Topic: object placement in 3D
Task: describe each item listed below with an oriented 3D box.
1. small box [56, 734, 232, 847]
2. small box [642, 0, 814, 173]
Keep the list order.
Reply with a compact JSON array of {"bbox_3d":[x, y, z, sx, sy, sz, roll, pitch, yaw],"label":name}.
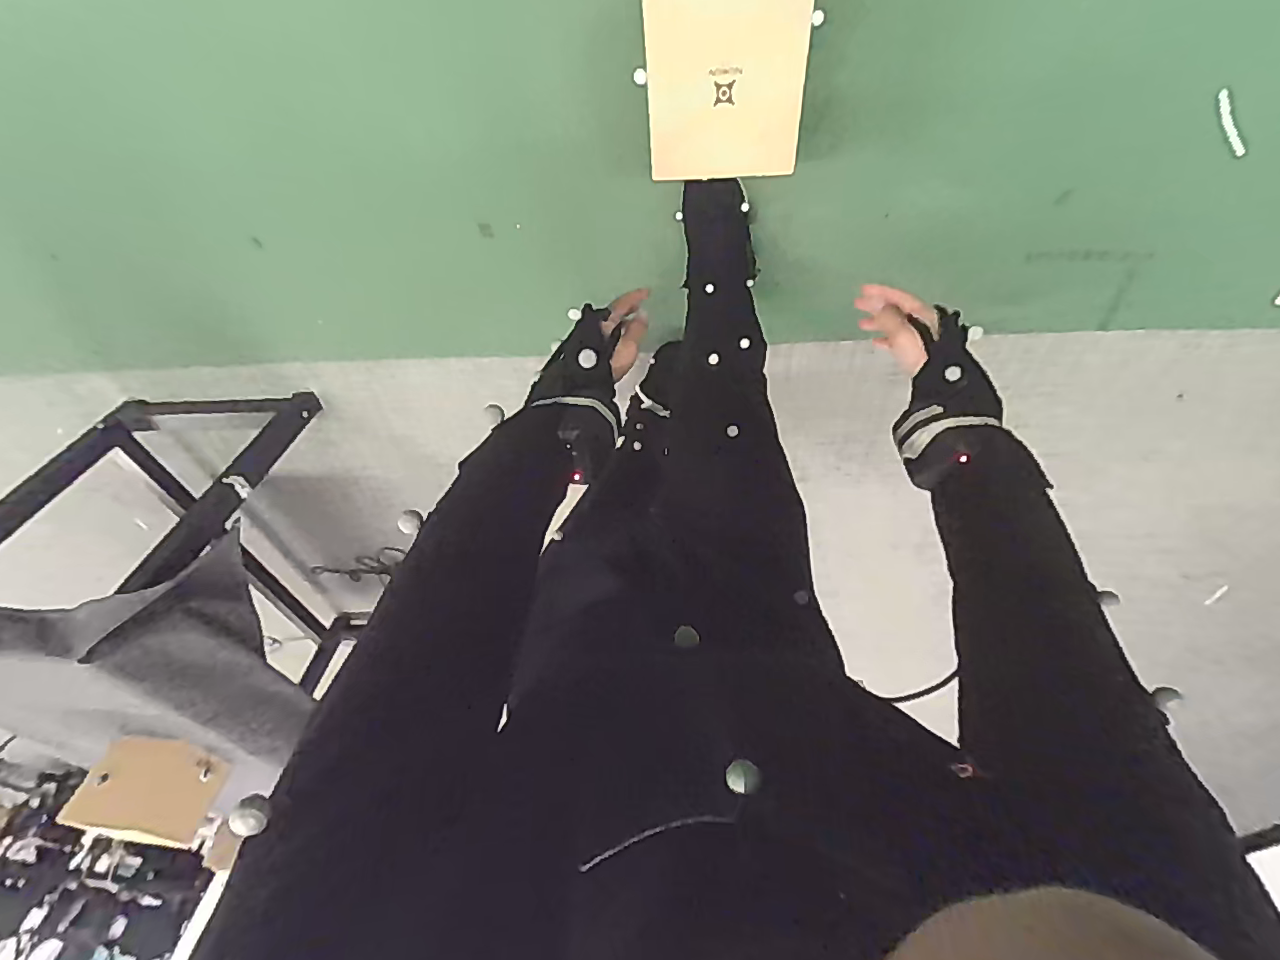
[{"bbox_3d":[-1.029,0.652,1.142,0.179,0.176,0.168,0,137,8],"label":"small box"},{"bbox_3d":[0.097,-0.473,0.613,0.168,0.176,0.179,1,136,8],"label":"small box"}]
